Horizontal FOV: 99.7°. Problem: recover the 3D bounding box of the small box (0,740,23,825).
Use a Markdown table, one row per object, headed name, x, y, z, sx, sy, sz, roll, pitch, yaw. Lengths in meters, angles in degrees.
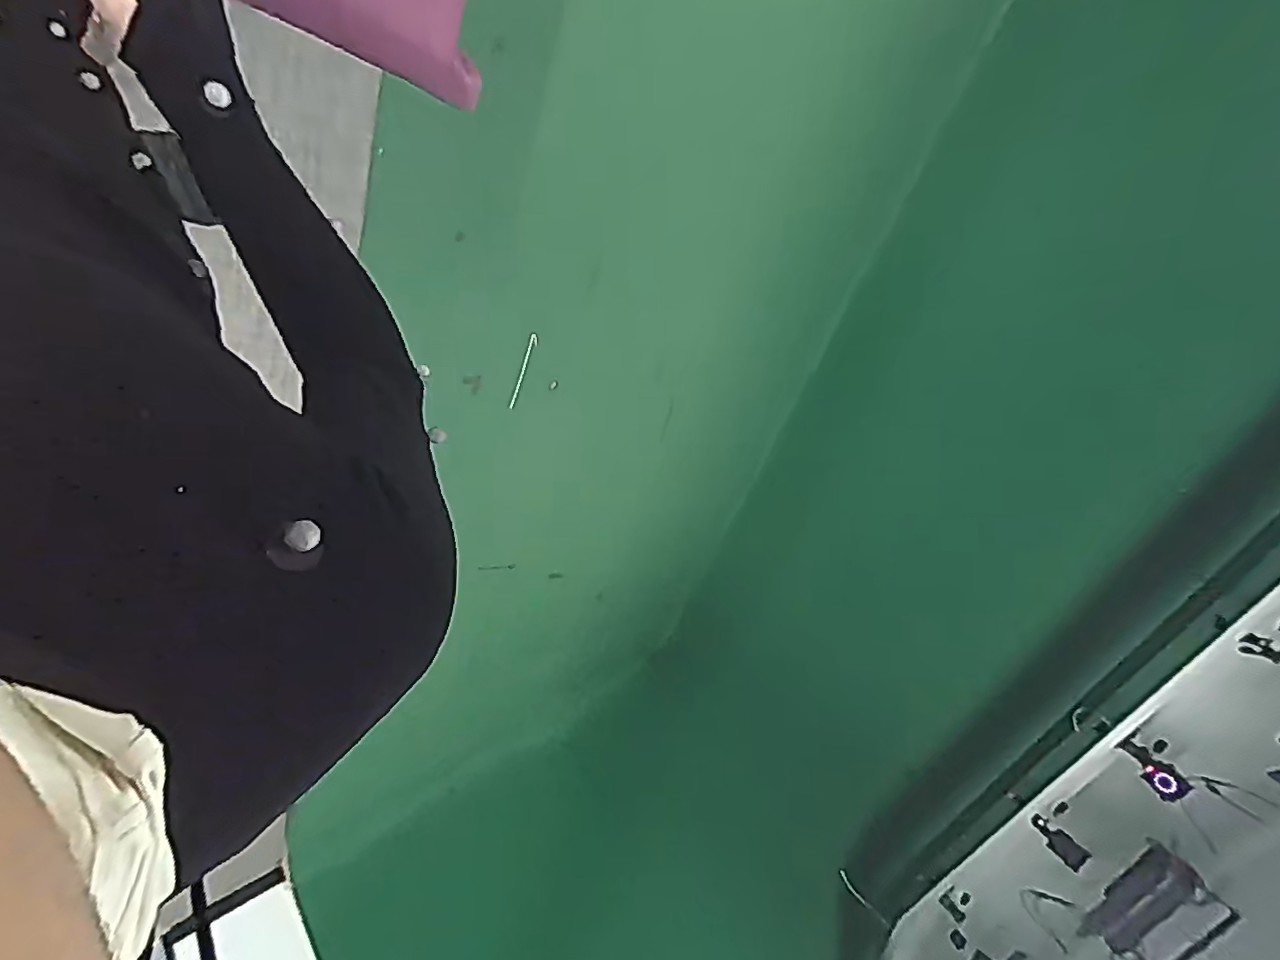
| name | x | y | z | sx | sy | sz | roll | pitch | yaw |
| --- | --- | --- | --- | --- | --- | --- | --- | --- | --- |
| small box | -1.837 | 0.853 | 1.491 | 0.168 | 0.176 | 0.179 | -5 | 127 | -49 |
